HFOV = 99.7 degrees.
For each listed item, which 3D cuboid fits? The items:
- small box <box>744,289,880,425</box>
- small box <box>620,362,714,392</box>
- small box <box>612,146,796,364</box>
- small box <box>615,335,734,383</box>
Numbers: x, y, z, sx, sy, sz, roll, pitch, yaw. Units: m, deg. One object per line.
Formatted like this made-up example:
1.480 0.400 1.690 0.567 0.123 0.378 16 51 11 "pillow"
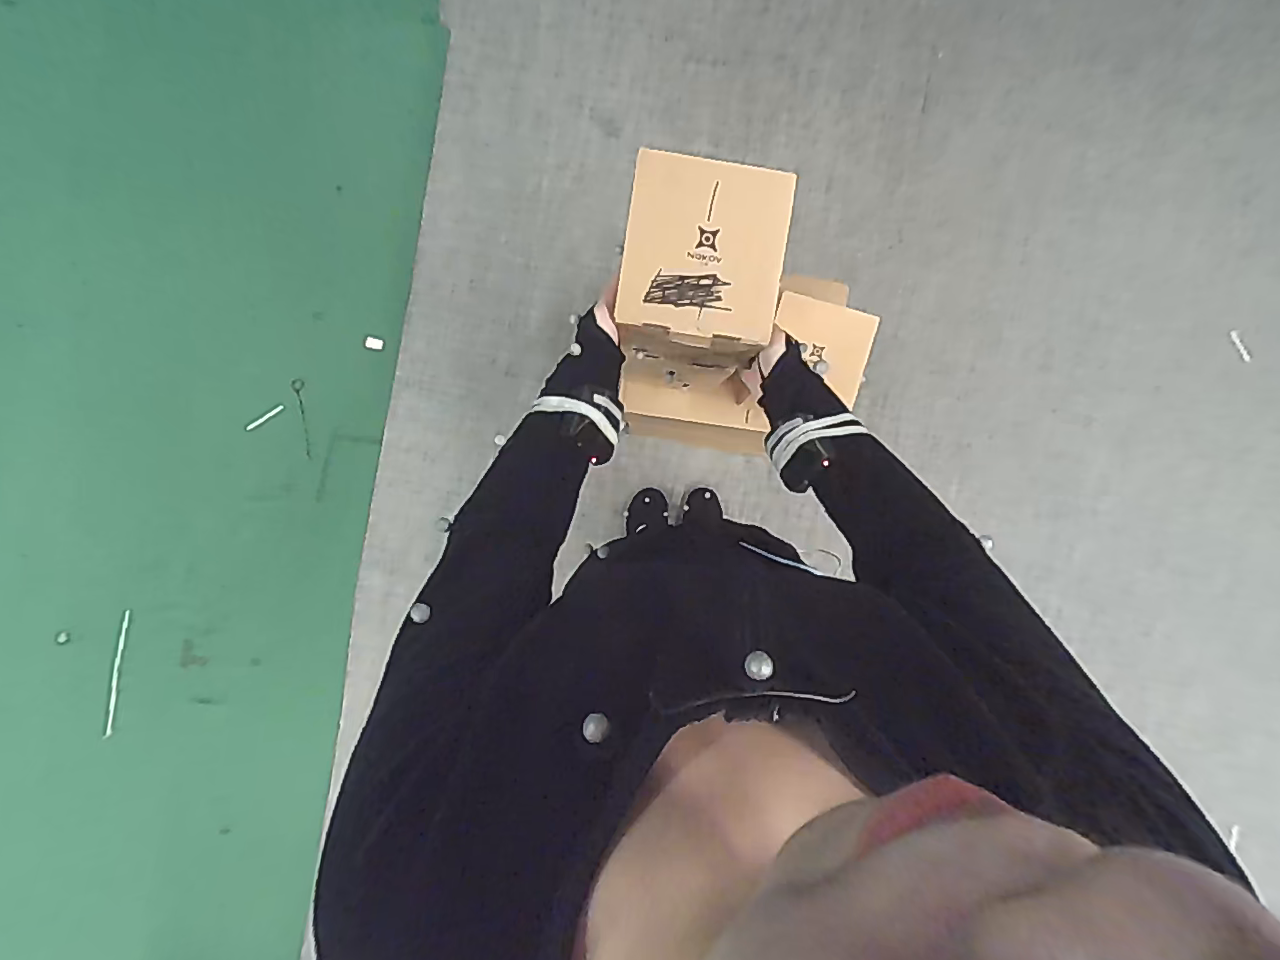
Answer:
0.292 -0.207 0.957 0.168 0.176 0.179 16 91 2 "small box"
0.064 -0.261 0.963 0.168 0.176 0.179 11 91 -1 "small box"
0.063 -0.241 0.626 0.168 0.176 0.179 8 92 -2 "small box"
0.060 -0.247 0.799 0.168 0.176 0.179 9 92 -1 "small box"
